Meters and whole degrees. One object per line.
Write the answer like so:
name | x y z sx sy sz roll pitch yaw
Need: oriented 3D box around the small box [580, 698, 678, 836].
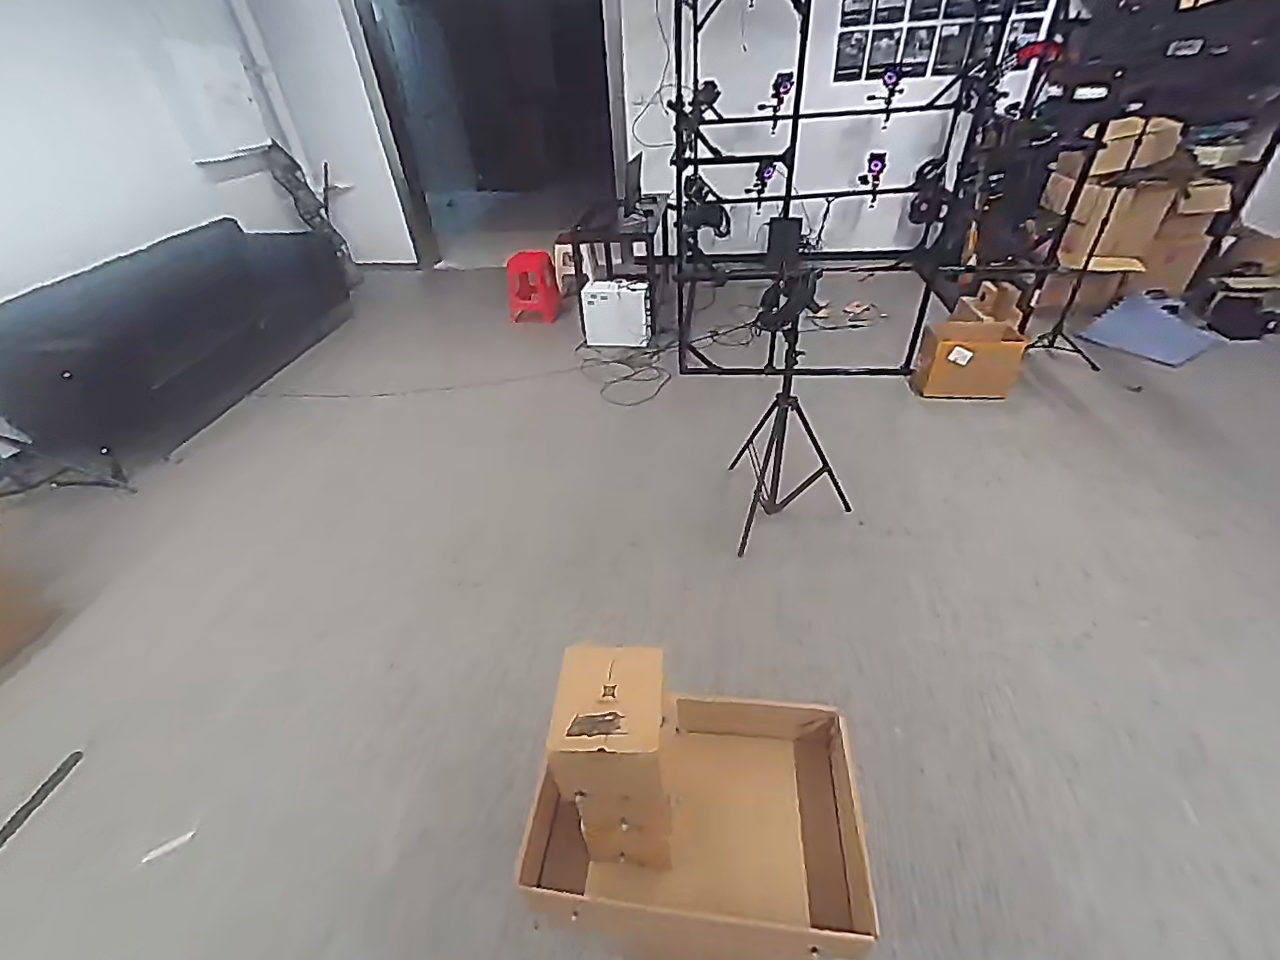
small box | -0.017 0.518 0.992 0.168 0.176 0.179 1 39 7

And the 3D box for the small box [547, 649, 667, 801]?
small box | -0.042 0.398 0.880 0.168 0.176 0.179 -1 38 5

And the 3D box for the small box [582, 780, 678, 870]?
small box | -0.011 0.649 1.091 0.168 0.176 0.179 1 39 8
